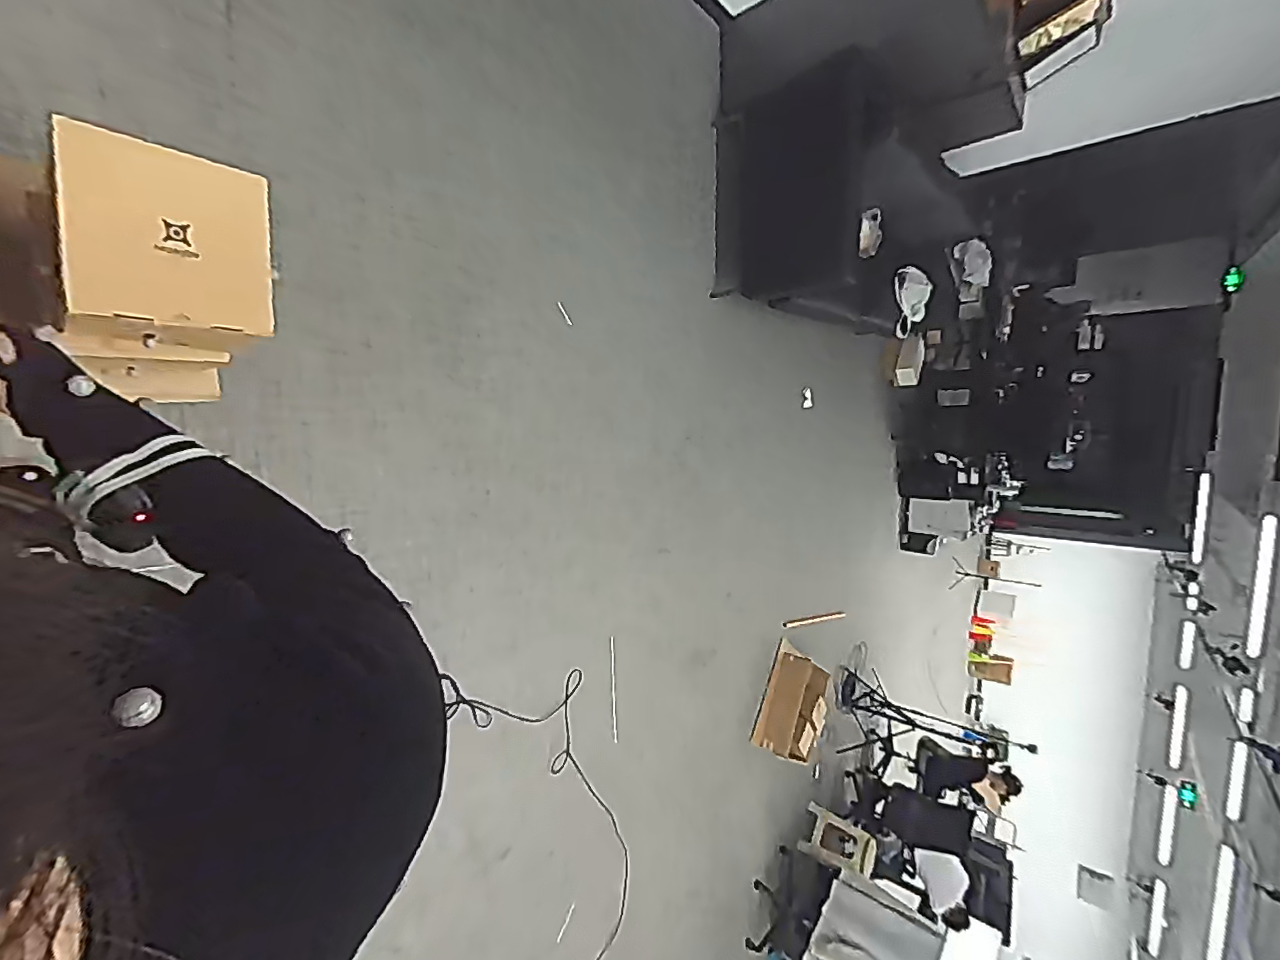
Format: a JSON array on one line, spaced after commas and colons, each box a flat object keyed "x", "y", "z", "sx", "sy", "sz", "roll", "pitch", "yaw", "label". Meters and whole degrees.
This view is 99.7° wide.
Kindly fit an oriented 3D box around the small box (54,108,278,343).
[{"x": -0.530, "y": -0.261, "z": 0.608, "sx": 0.168, "sy": 0.176, "sz": 0.179, "roll": -5, "pitch": 97, "yaw": -49, "label": "small box"}]
